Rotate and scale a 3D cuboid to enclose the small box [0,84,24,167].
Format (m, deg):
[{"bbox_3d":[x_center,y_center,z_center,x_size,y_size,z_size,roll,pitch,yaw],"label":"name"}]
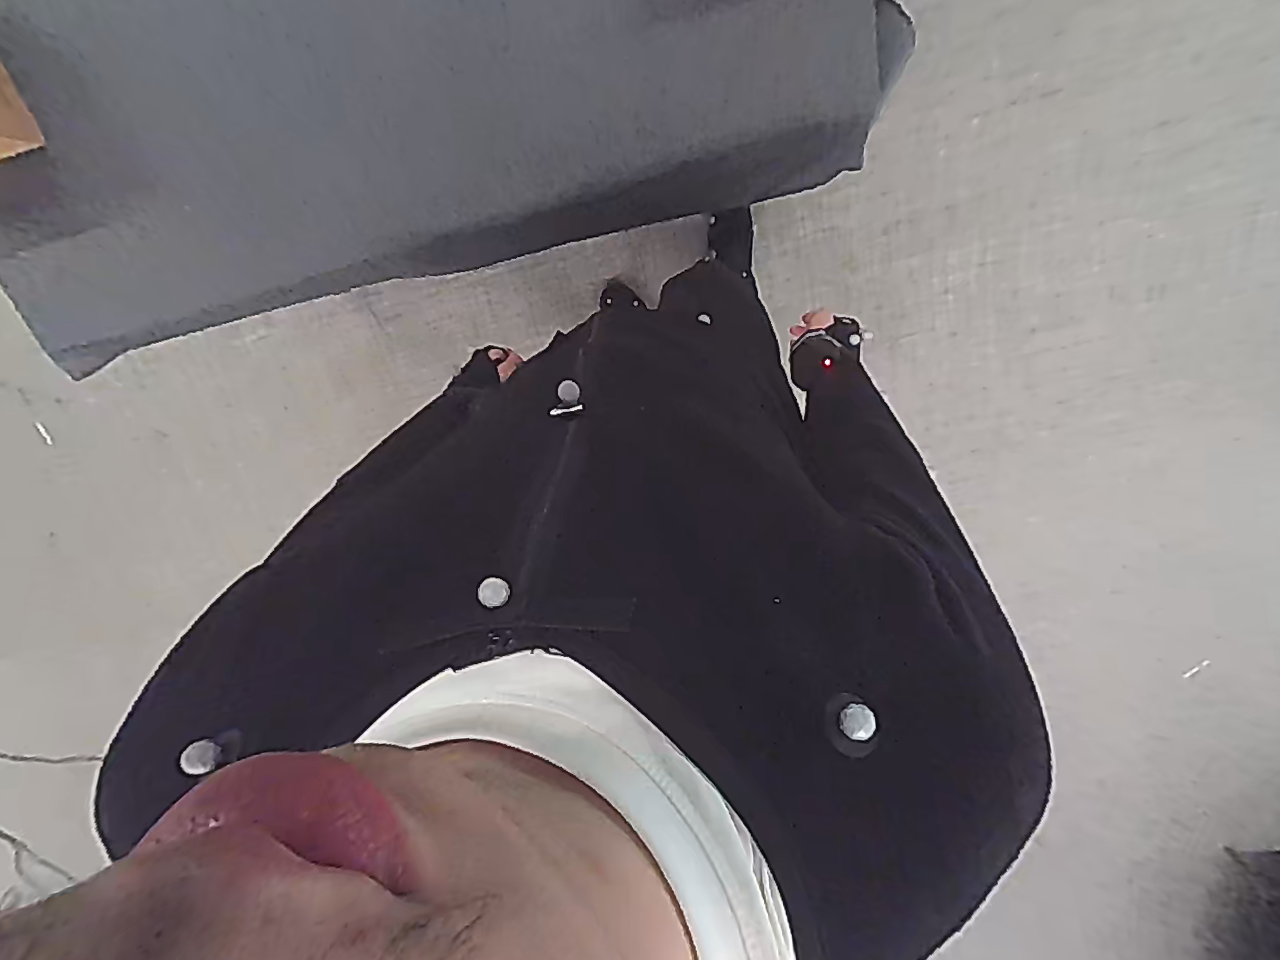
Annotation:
[{"bbox_3d":[-0.862,-0.446,0.596,0.179,0.176,0.168,-9,110,7],"label":"small box"}]
